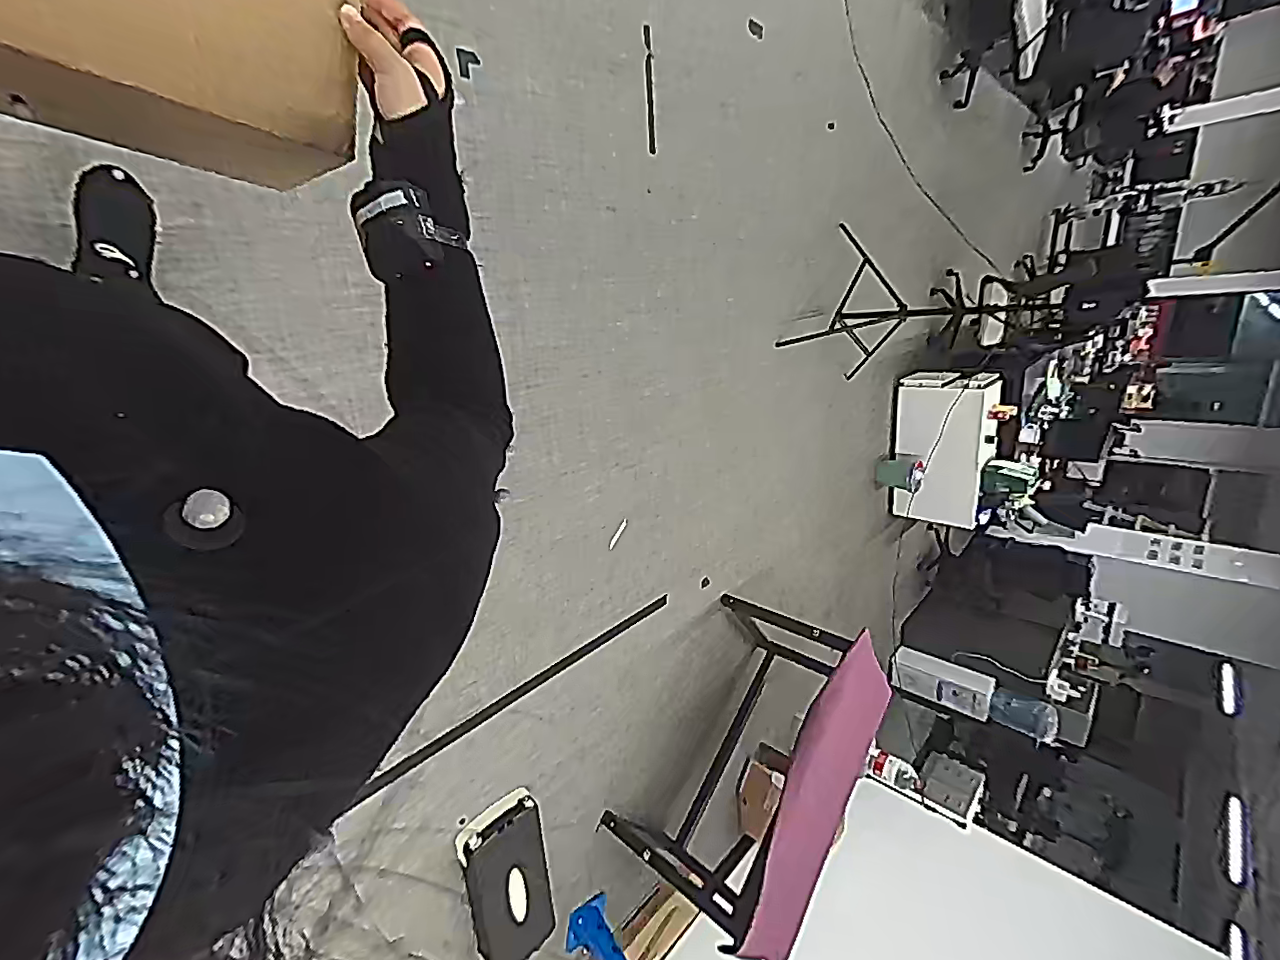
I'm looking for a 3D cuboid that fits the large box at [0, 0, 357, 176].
[{"bbox_3d":[-0.457,-0.458,0.389,0.408,0.320,0.320,-2,107,-41],"label":"large box"}]
